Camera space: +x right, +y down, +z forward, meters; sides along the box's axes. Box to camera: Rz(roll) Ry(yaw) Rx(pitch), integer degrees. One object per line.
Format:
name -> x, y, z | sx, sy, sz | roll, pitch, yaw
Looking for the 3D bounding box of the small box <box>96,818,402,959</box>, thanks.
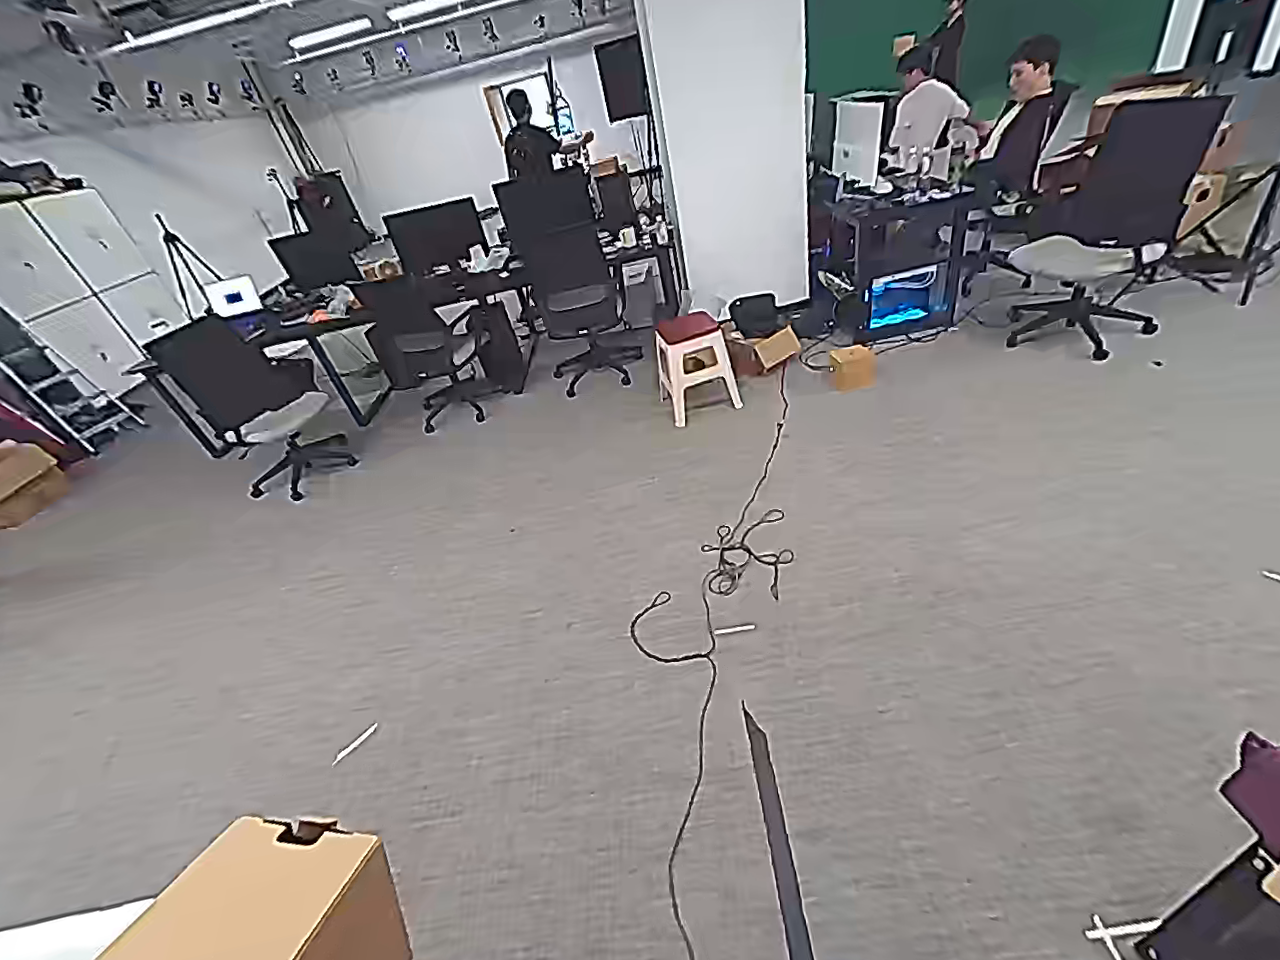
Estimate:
small box -> -0.338, 0.447, 0.478 | 0.168, 0.176, 0.179 | 0, 16, 12
